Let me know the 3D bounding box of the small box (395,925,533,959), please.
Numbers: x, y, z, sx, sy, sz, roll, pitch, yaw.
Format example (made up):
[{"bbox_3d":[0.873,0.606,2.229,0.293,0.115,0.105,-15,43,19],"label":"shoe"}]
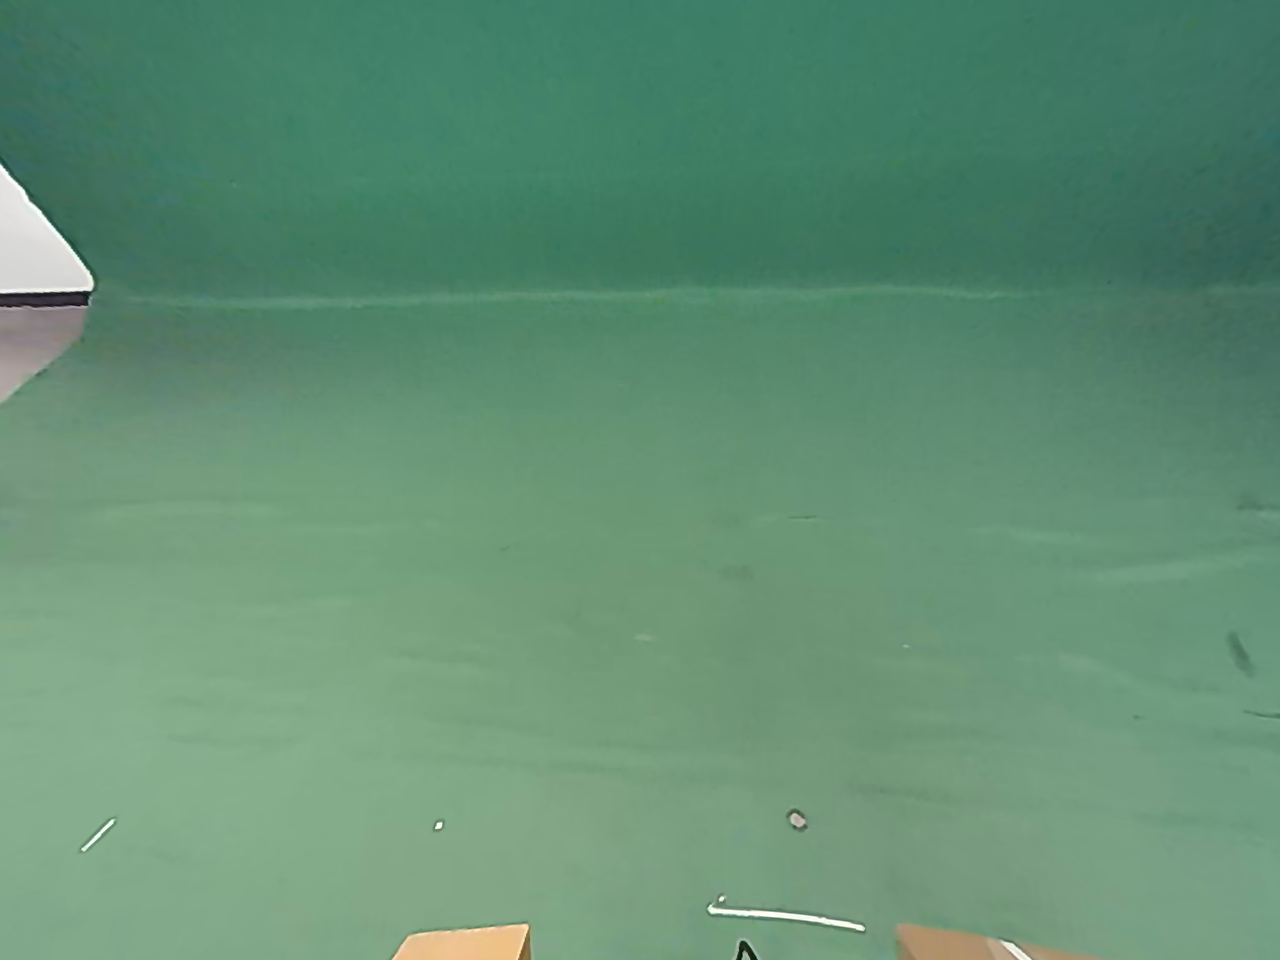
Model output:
[{"bbox_3d":[-0.223,0.674,0.632,0.168,0.179,0.176,-5,82,0],"label":"small box"}]
